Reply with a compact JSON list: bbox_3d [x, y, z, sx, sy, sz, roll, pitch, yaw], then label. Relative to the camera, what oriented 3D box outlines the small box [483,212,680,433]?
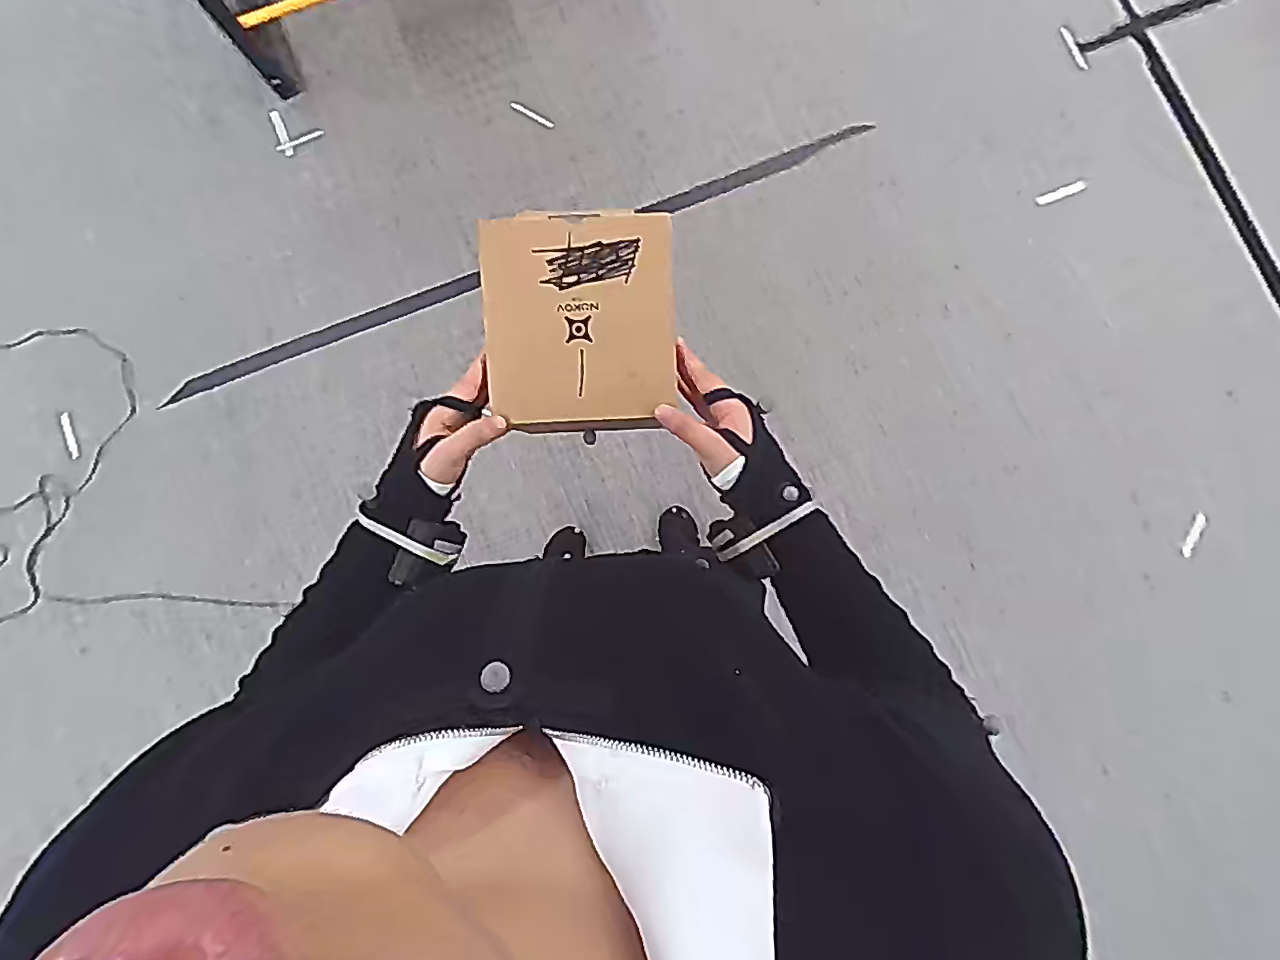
[{"bbox_3d":[-0.051,-0.143,0.545,0.168,0.176,0.179,-3,93,0],"label":"small box"}]
